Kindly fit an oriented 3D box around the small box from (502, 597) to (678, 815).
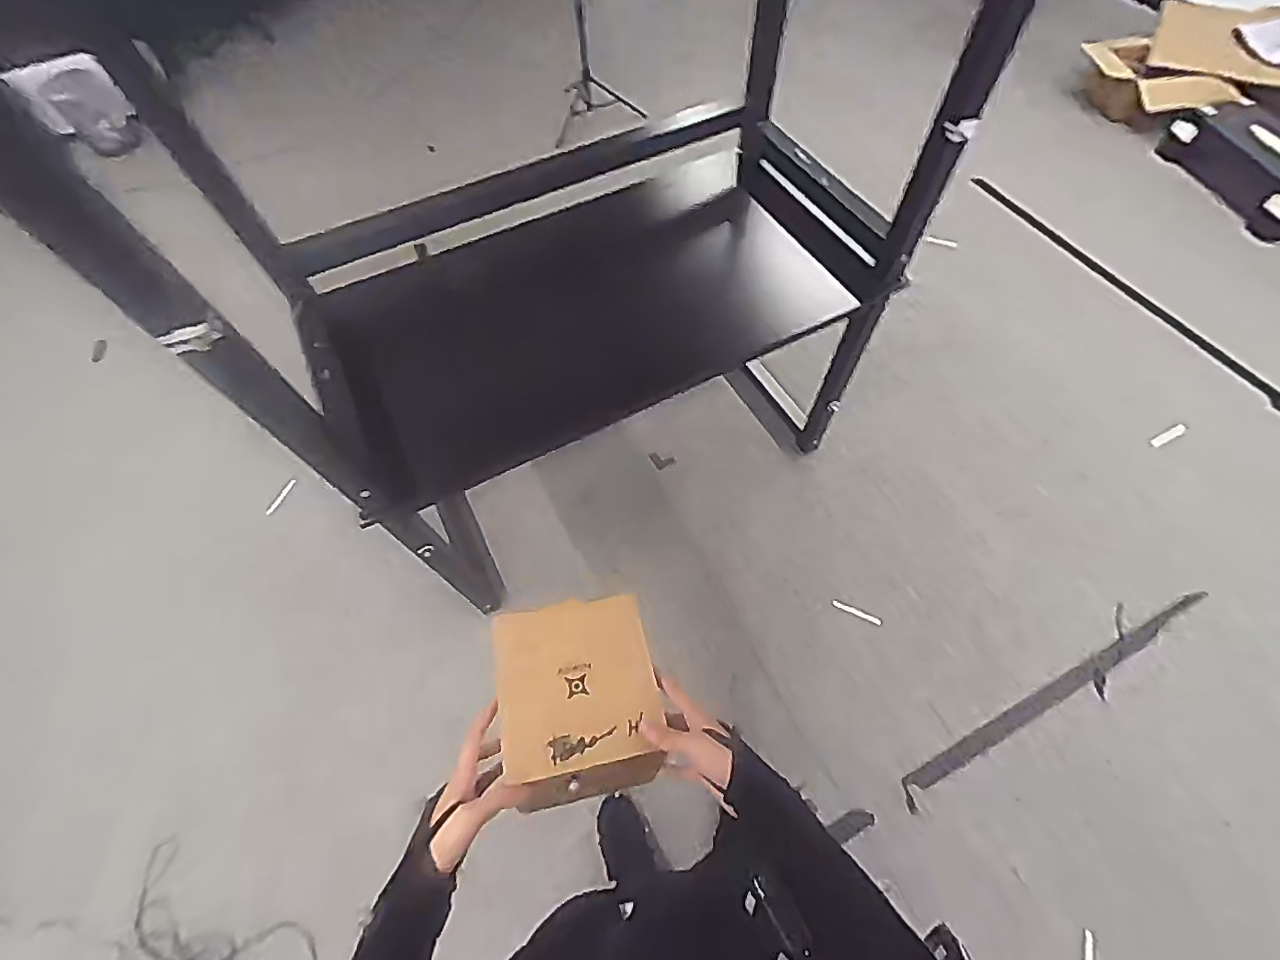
[{"bbox_3d":[-0.066,0.261,0.627,0.168,0.176,0.179,-7,52,-12],"label":"small box"}]
